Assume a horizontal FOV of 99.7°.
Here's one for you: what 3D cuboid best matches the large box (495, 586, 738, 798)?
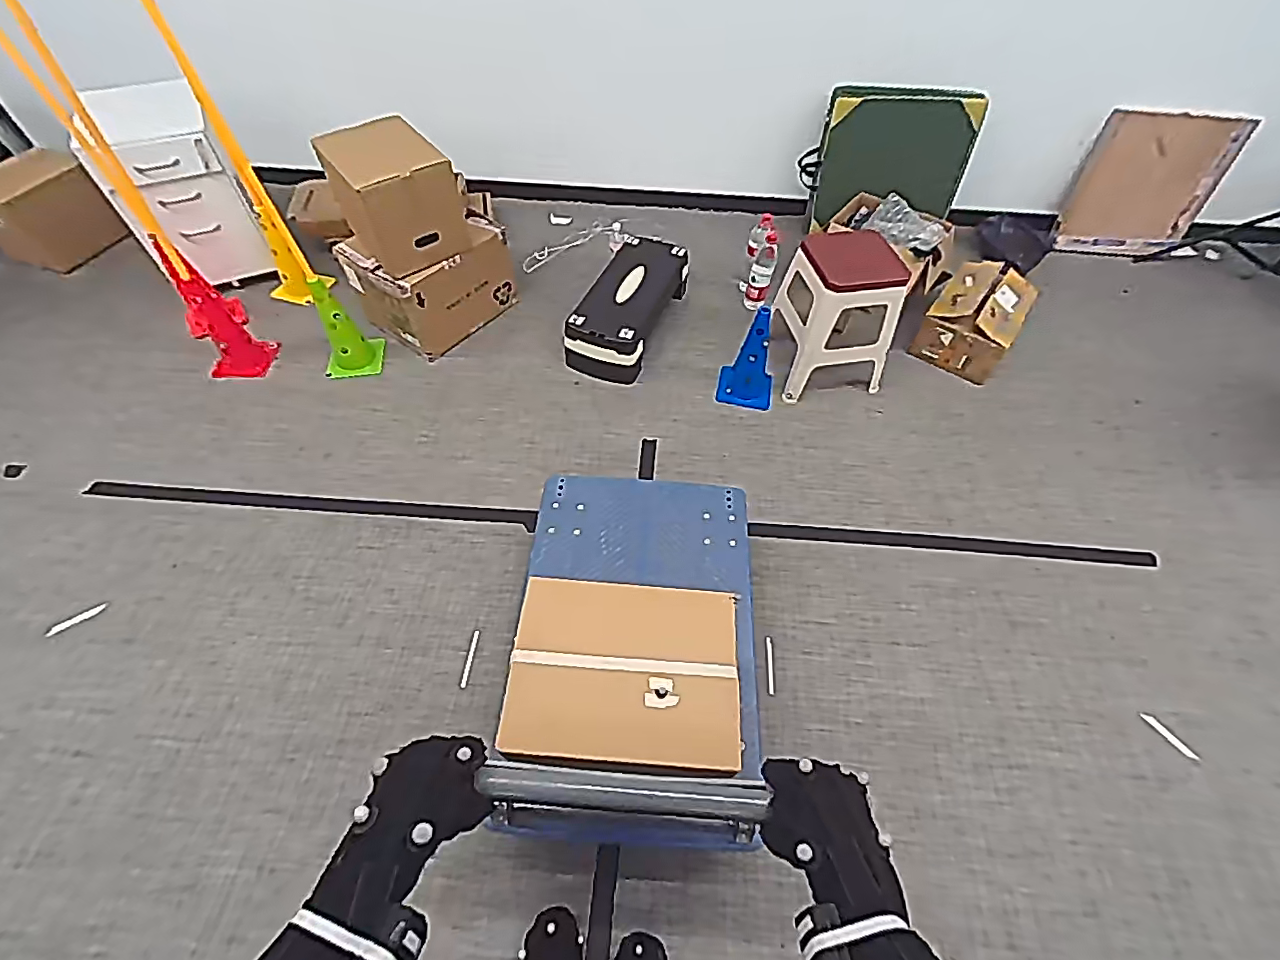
[{"bbox_3d":[-0.041,0.430,1.078,0.408,0.320,0.320,5,54,0],"label":"large box"}]
